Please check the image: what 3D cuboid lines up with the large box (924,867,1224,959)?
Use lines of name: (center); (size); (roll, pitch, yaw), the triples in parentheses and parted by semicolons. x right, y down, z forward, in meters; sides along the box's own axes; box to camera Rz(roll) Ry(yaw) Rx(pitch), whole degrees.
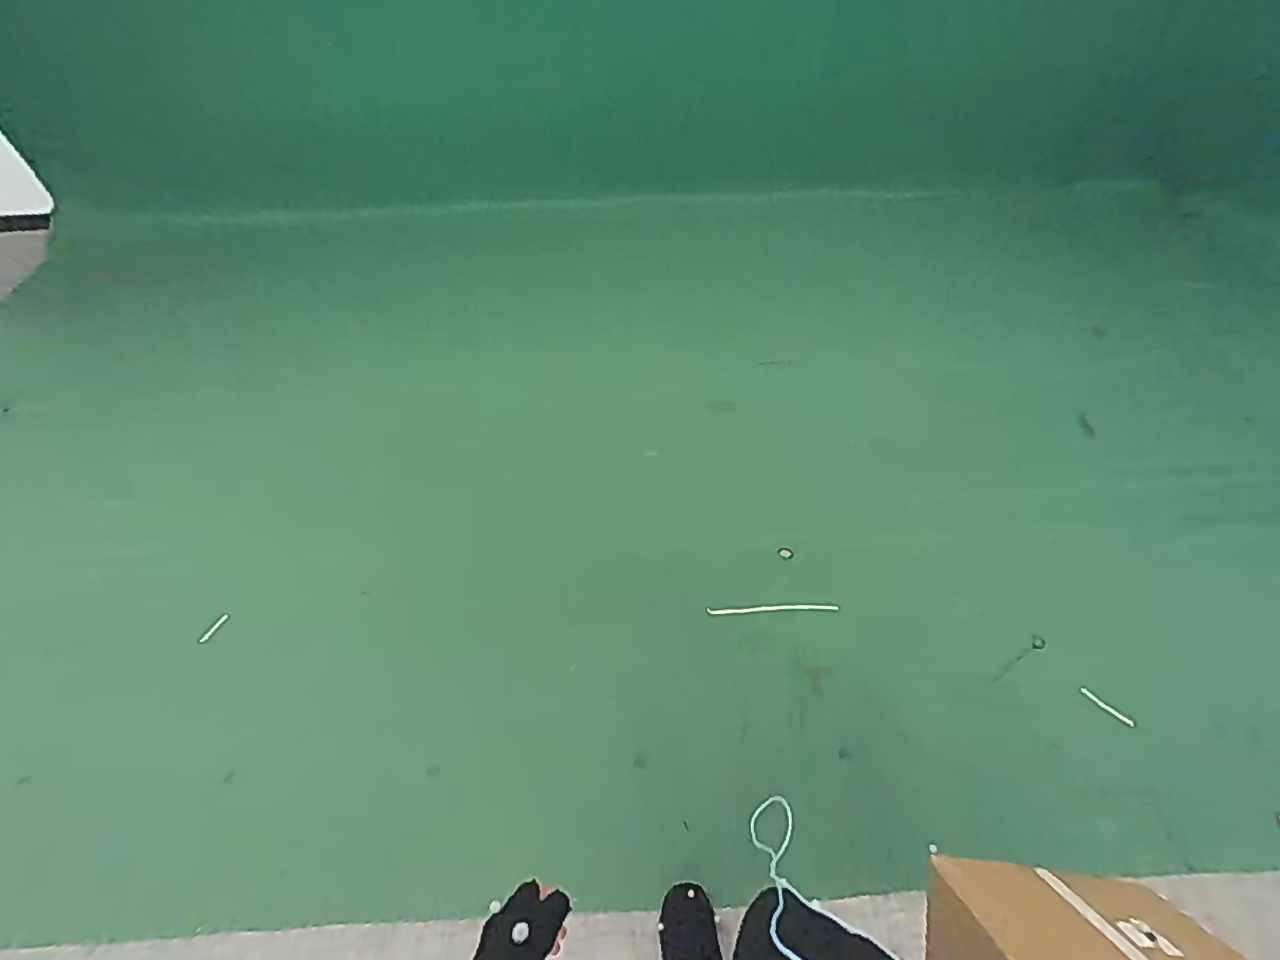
large box: (0.555, 0.720, 0.591); (0.320, 0.408, 0.320); (6, 83, 5)
